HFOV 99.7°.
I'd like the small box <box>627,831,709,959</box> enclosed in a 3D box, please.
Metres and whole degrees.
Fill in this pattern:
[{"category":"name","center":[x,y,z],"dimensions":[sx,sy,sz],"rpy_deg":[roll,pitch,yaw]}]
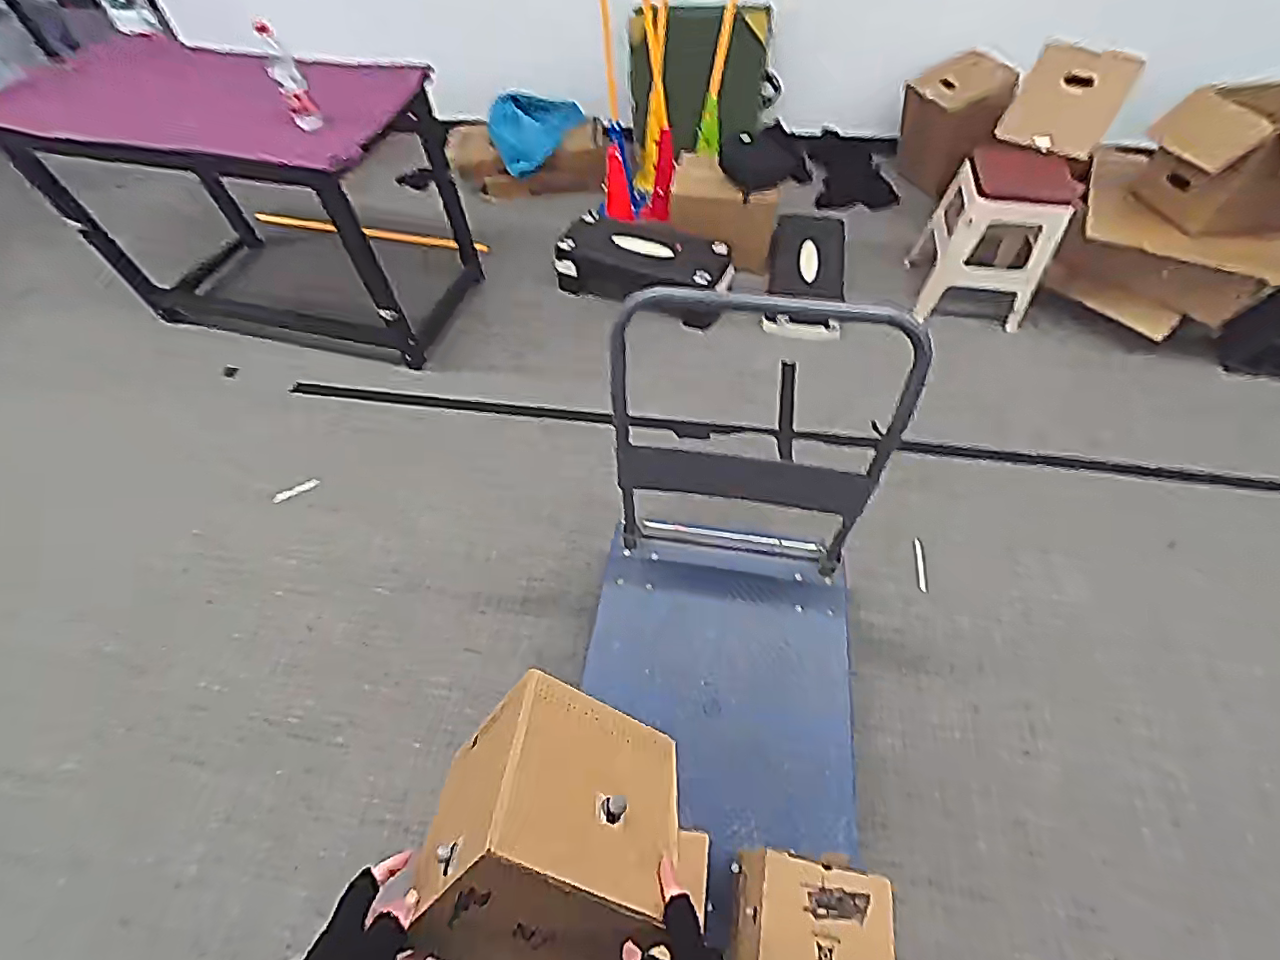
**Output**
[{"category":"small box","center":[0.020,0.689,0.904],"dimensions":[0.168,0.176,0.179],"rpy_deg":[7,55,6]}]

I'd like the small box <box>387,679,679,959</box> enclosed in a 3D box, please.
[{"category":"small box","center":[-0.085,0.314,0.490],"dimensions":[0.179,0.168,0.176],"rpy_deg":[32,24,-17]}]

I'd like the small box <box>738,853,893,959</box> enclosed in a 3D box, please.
[{"category":"small box","center":[0.230,0.632,0.738],"dimensions":[0.168,0.176,0.179],"rpy_deg":[10,57,8]}]
